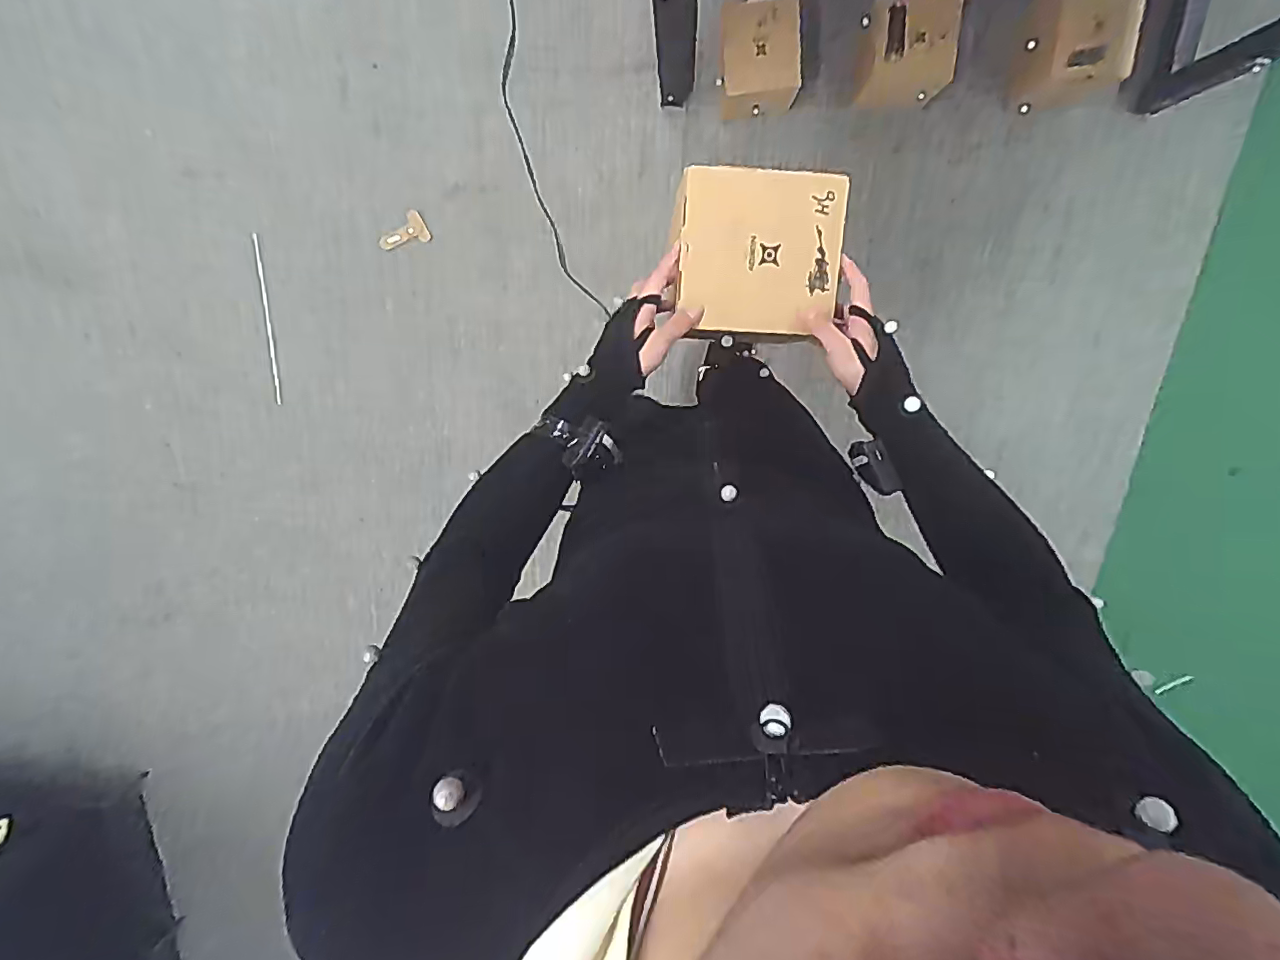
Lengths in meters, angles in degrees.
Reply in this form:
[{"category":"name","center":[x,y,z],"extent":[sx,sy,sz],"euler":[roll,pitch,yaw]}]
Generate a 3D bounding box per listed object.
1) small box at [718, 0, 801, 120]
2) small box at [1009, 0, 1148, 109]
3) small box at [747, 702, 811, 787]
[{"category":"small box","center":[0.271,-0.955,1.242],"extent":[0.168,0.176,0.179],"euler":[-4,106,6]},{"category":"small box","center":[0.955,-0.945,1.194],"extent":[0.168,0.176,0.179],"euler":[1,105,4]},{"category":"small box","center":[0.444,0.854,1.753],"extent":[0.168,0.176,0.179],"euler":[4,106,2]}]
